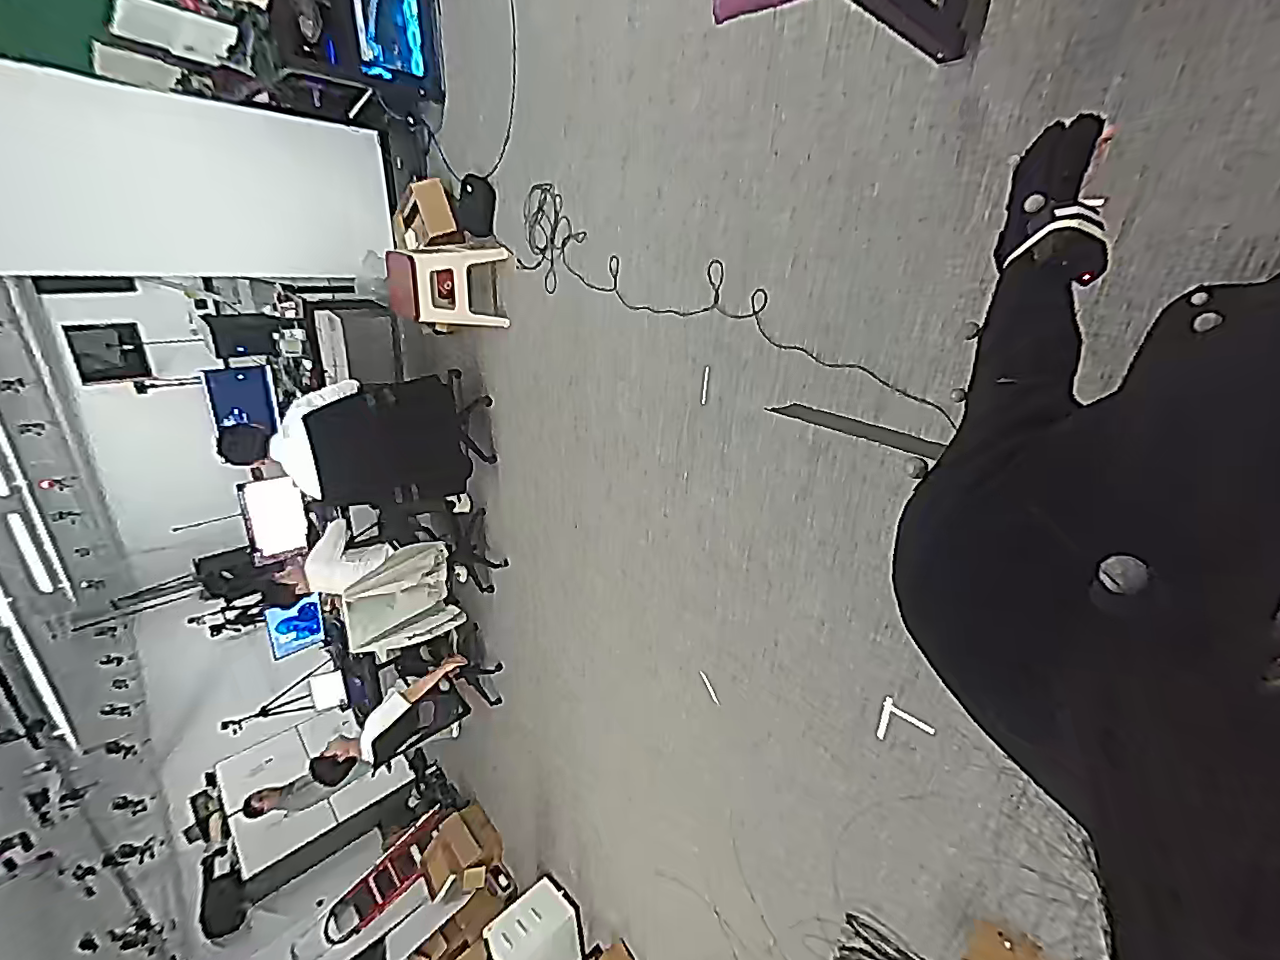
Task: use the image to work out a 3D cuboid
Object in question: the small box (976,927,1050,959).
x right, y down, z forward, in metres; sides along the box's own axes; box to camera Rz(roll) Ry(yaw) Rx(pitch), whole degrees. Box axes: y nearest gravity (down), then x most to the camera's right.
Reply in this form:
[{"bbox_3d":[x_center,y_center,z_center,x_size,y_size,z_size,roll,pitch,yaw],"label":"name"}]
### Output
[{"bbox_3d":[1.096,1.479,1.574,0.168,0.176,0.179,0,103,48],"label":"small box"}]
